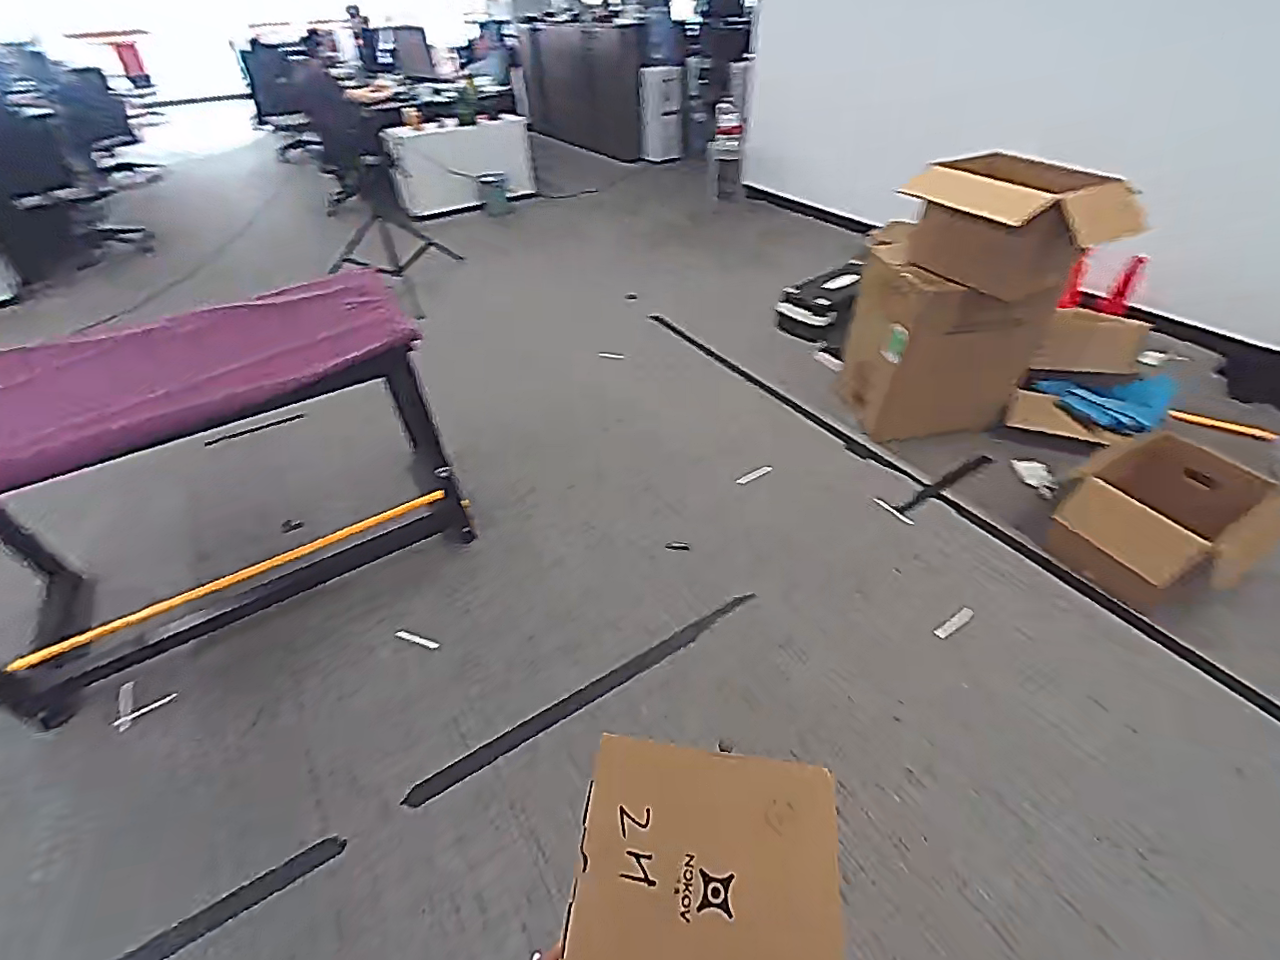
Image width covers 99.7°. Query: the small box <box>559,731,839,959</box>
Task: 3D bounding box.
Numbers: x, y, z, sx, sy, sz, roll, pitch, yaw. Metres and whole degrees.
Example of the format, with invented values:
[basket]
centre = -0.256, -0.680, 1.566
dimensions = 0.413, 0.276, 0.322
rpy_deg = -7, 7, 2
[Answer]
[small box]
centre = 0.047, 0.310, 0.429
dimensions = 0.179, 0.176, 0.168
rpy_deg = 4, 58, 9
